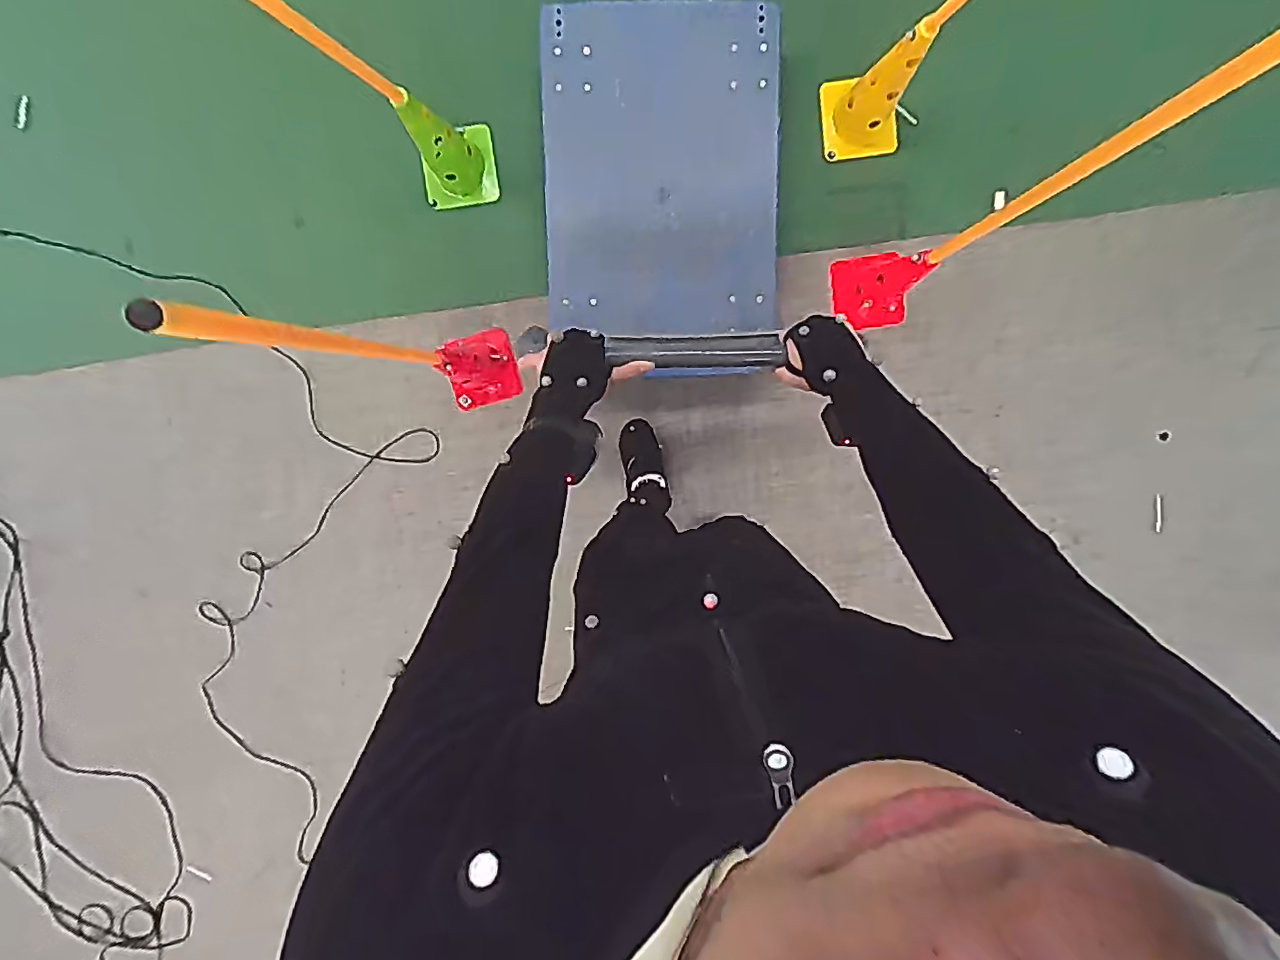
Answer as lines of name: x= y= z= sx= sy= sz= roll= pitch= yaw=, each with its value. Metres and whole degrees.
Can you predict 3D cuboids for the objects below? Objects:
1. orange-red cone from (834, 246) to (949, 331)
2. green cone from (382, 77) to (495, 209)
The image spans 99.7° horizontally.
orange-red cone: x=0.640 y=-0.503 z=1.328 sx=0.198 sy=0.360 sz=0.199 roll=-8 pitch=96 yaw=1
green cone: x=-0.504 y=-0.828 z=1.292 sx=0.200 sy=0.368 sz=0.202 roll=-8 pitch=96 yaw=2
